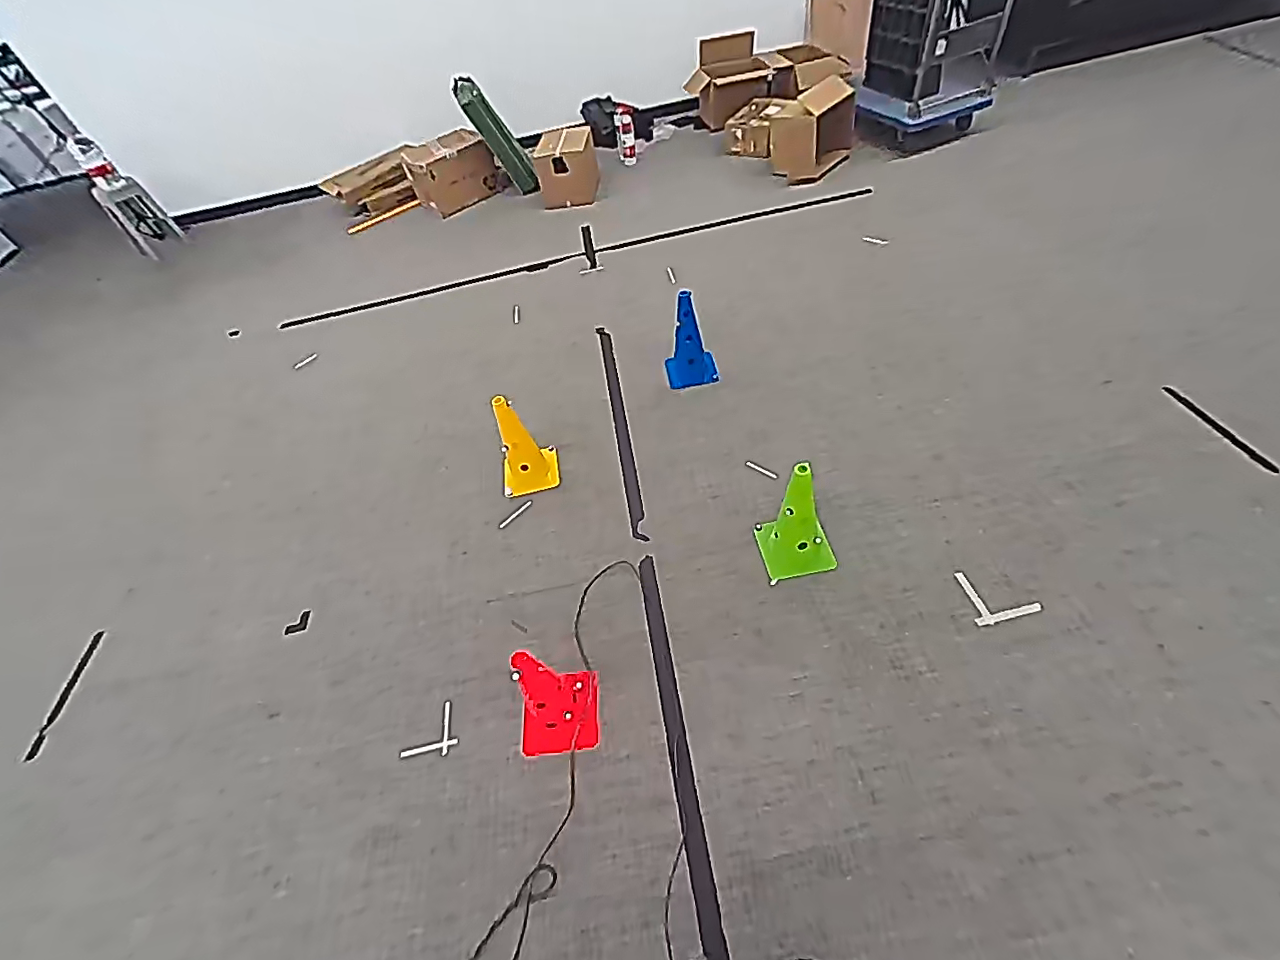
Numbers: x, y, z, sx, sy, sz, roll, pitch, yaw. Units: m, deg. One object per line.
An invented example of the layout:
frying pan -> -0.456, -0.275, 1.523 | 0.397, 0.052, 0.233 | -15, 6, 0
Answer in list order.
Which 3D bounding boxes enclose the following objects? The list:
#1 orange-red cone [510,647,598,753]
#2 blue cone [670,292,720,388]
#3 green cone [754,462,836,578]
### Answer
orange-red cone -> -0.236, 0.491, 1.288 | 0.199, 0.360, 0.198 | -9, 47, 5
blue cone -> 0.201, -0.555, 2.108 | 0.192, 0.380, 0.193 | -8, 49, 3
green cone -> 0.439, 0.087, 1.495 | 0.202, 0.368, 0.200 | -11, 49, 0
